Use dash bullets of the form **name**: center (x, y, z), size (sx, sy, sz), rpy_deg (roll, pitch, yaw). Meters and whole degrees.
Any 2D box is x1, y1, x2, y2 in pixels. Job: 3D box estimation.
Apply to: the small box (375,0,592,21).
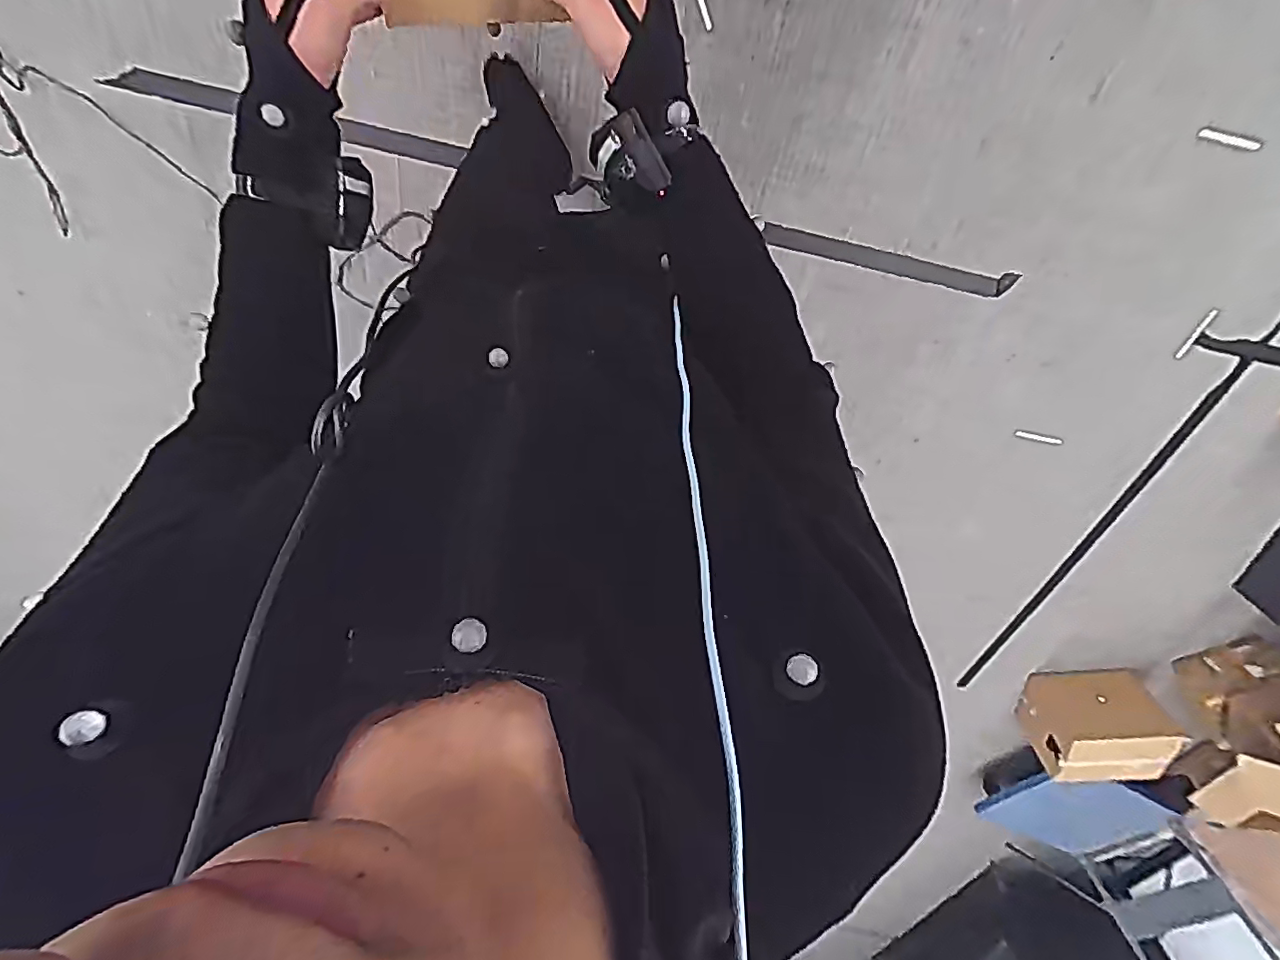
- **small box**: center (-0.127, -0.472, 0.408), size (0.168, 0.176, 0.179), rpy_deg (-7, 136, -6)
